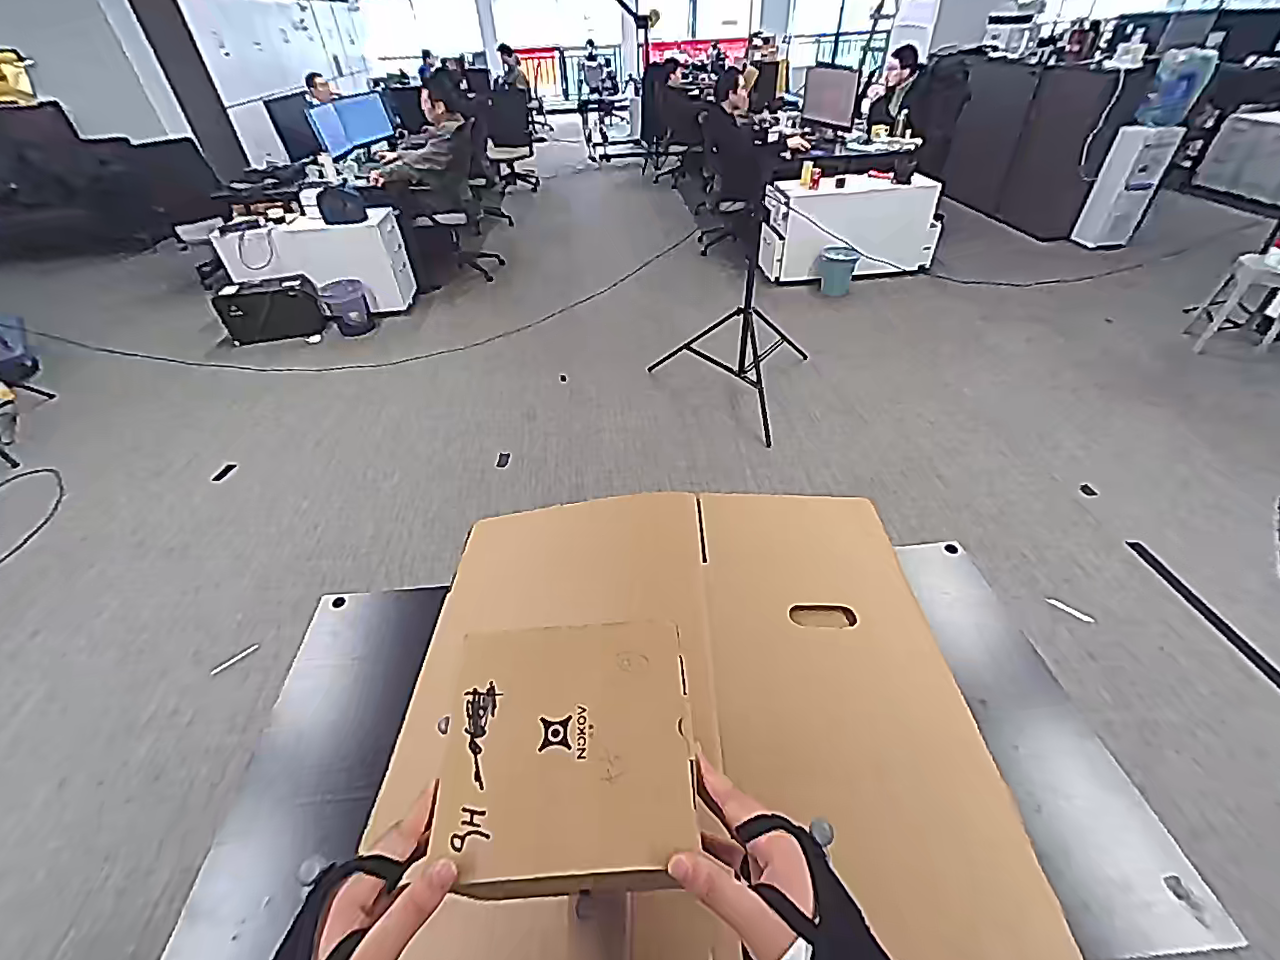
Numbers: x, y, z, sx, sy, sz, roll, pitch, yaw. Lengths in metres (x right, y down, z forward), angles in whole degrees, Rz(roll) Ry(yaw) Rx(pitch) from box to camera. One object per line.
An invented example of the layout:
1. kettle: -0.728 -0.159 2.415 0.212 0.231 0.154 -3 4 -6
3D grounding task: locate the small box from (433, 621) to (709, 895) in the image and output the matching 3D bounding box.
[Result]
1. small box: -0.047 0.233 0.451 0.179 0.176 0.168 -3 48 -2
